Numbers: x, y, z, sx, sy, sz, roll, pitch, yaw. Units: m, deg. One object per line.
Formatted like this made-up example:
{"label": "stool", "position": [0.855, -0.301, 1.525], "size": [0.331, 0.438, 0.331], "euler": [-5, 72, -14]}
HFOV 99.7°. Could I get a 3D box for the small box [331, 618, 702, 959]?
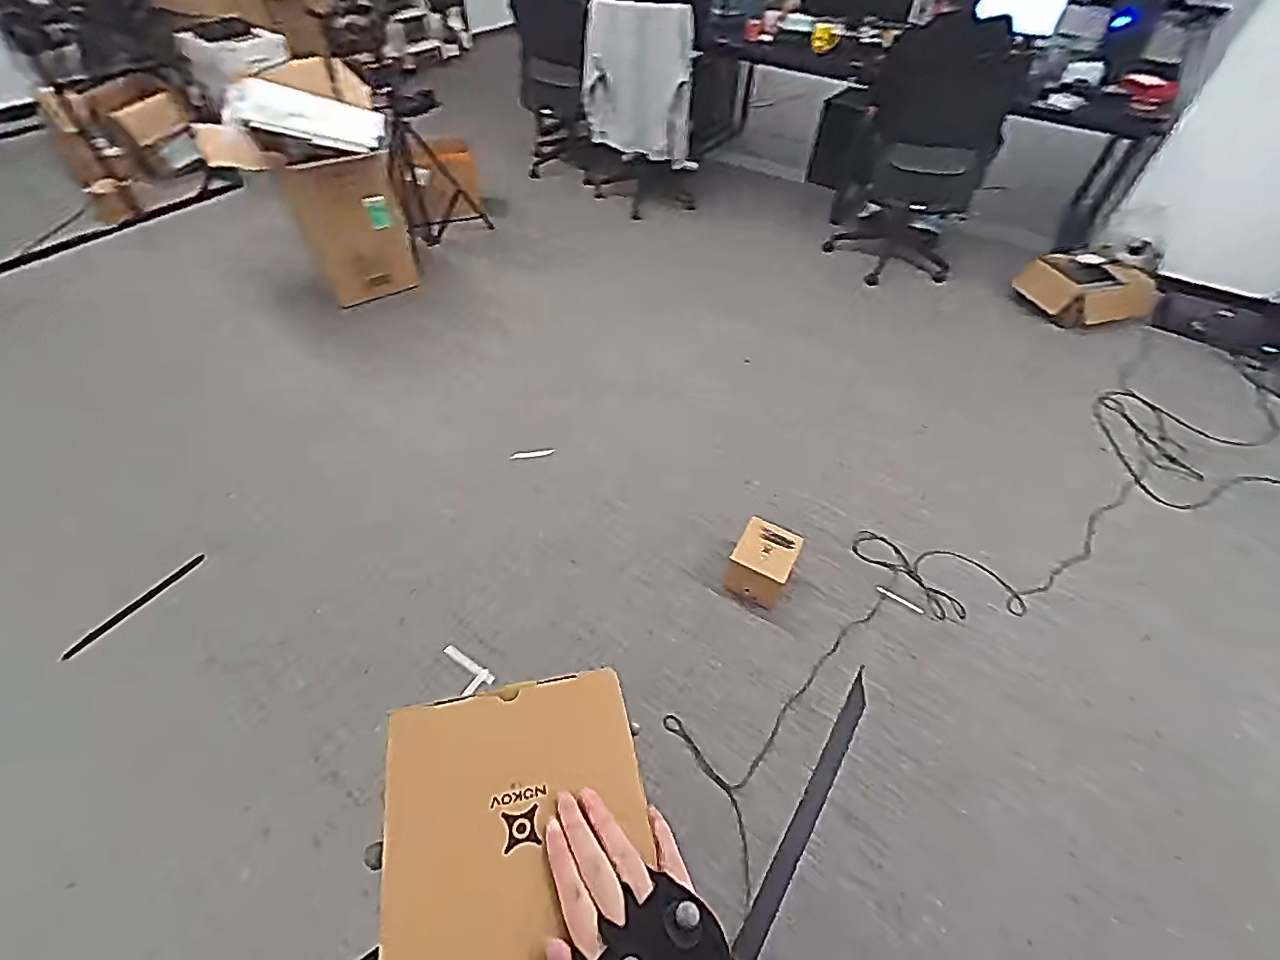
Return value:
{"label": "small box", "position": [-0.079, 0.228, 0.389], "size": [0.179, 0.176, 0.168], "euler": [-22, 33, -5]}
